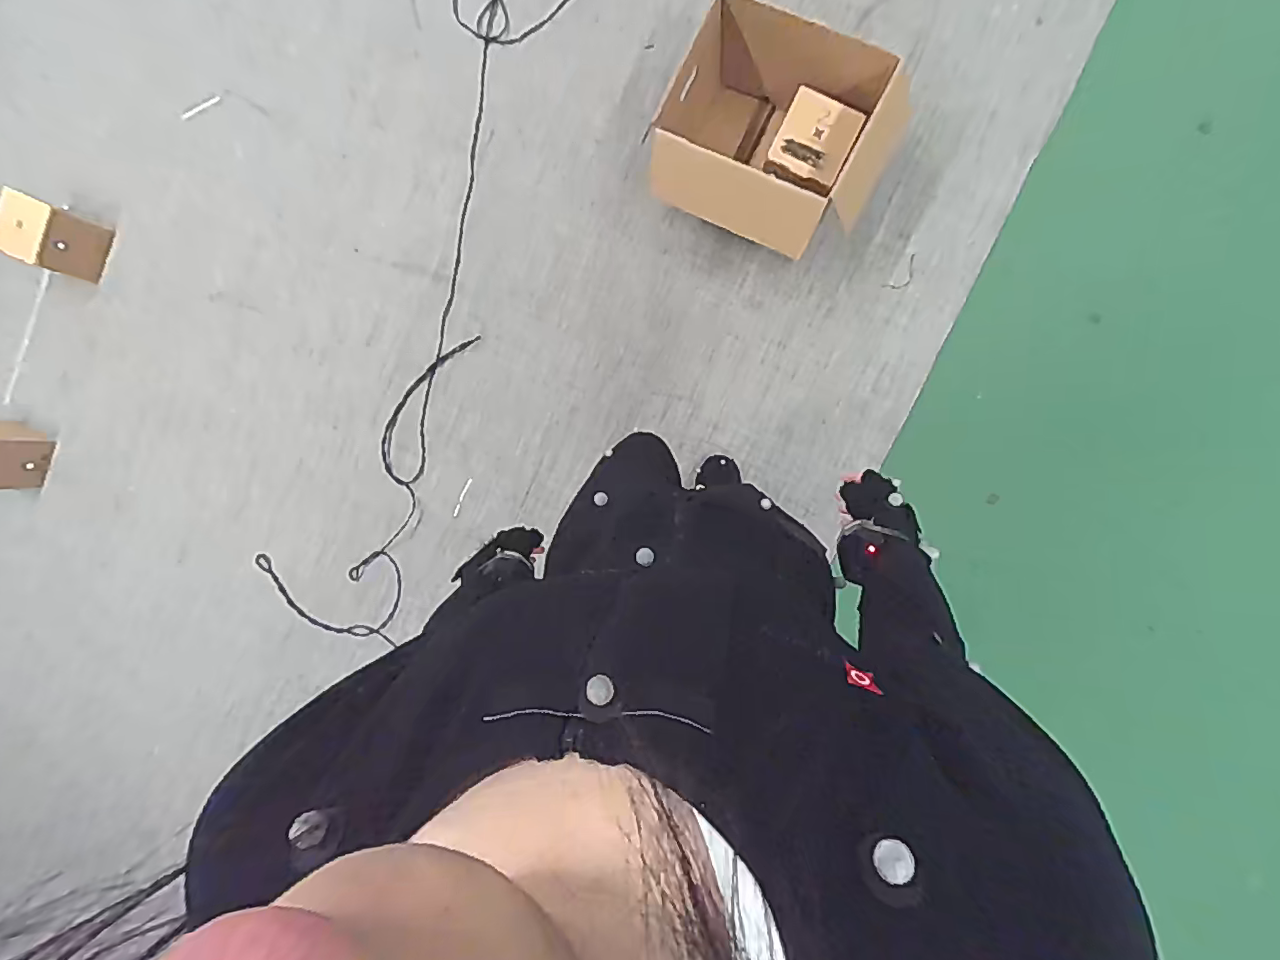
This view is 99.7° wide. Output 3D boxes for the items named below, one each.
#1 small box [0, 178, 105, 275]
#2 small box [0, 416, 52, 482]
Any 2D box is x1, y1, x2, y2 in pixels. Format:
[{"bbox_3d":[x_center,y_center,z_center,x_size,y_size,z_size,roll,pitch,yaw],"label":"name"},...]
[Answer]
[{"bbox_3d":[-1.720,-0.727,1.567,0.168,0.176,0.179,24,97,4],"label":"small box"},{"bbox_3d":[-1.977,-0.096,1.645,0.179,0.176,0.168,24,97,5],"label":"small box"}]
